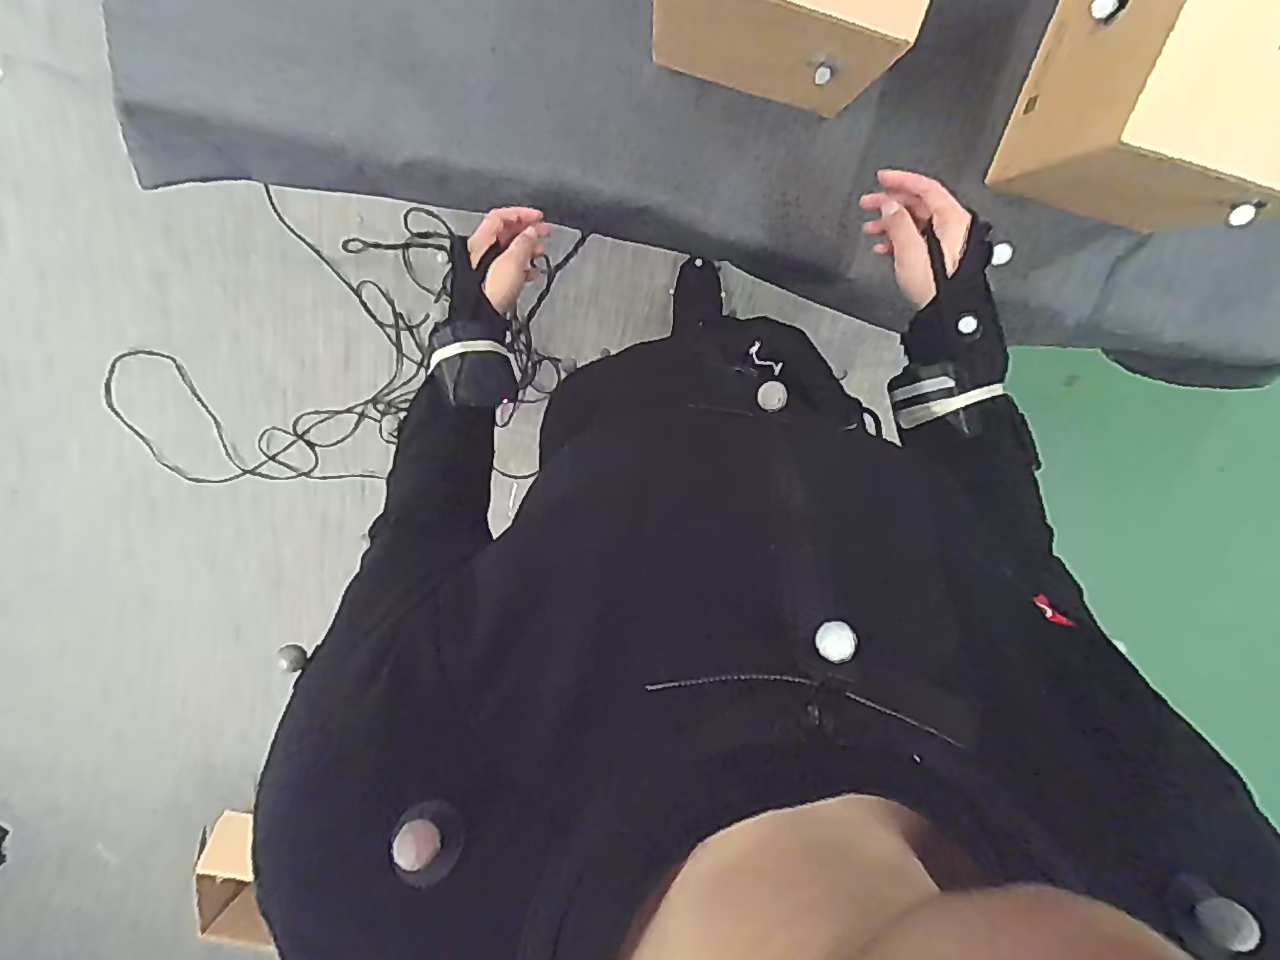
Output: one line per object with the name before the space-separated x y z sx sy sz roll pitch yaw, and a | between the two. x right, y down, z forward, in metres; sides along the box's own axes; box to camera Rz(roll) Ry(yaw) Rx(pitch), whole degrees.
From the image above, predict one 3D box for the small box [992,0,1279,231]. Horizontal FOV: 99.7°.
small box | 0.424 -0.303 0.417 0.179 0.176 0.168 14 109 -4
